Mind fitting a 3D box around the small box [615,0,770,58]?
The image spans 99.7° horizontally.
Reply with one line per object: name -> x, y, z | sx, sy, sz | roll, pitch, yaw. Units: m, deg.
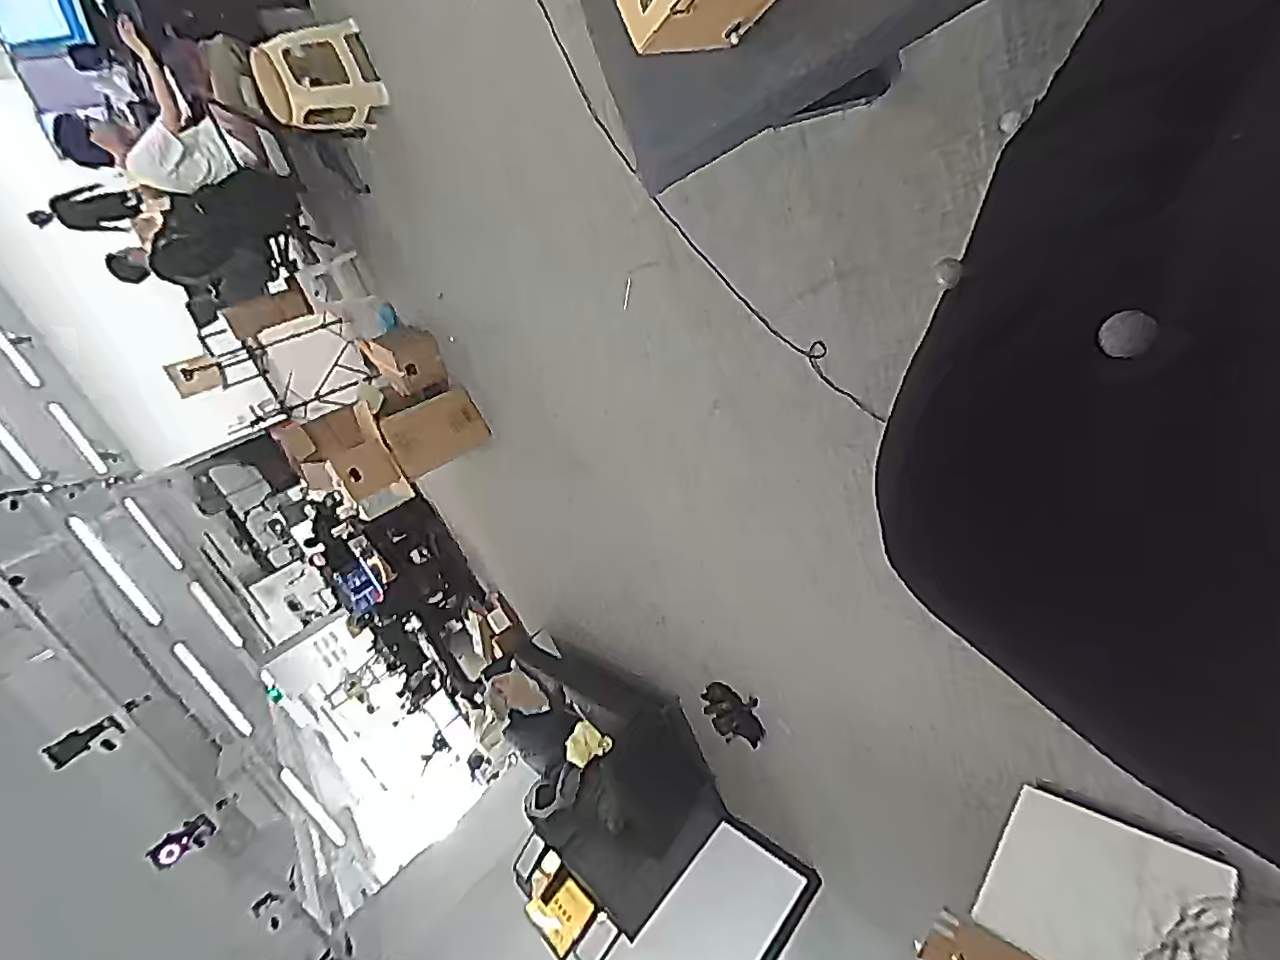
small box -> 0.067, -0.591, 0.565 | 0.168, 0.176, 0.179 | -7, 112, 54
